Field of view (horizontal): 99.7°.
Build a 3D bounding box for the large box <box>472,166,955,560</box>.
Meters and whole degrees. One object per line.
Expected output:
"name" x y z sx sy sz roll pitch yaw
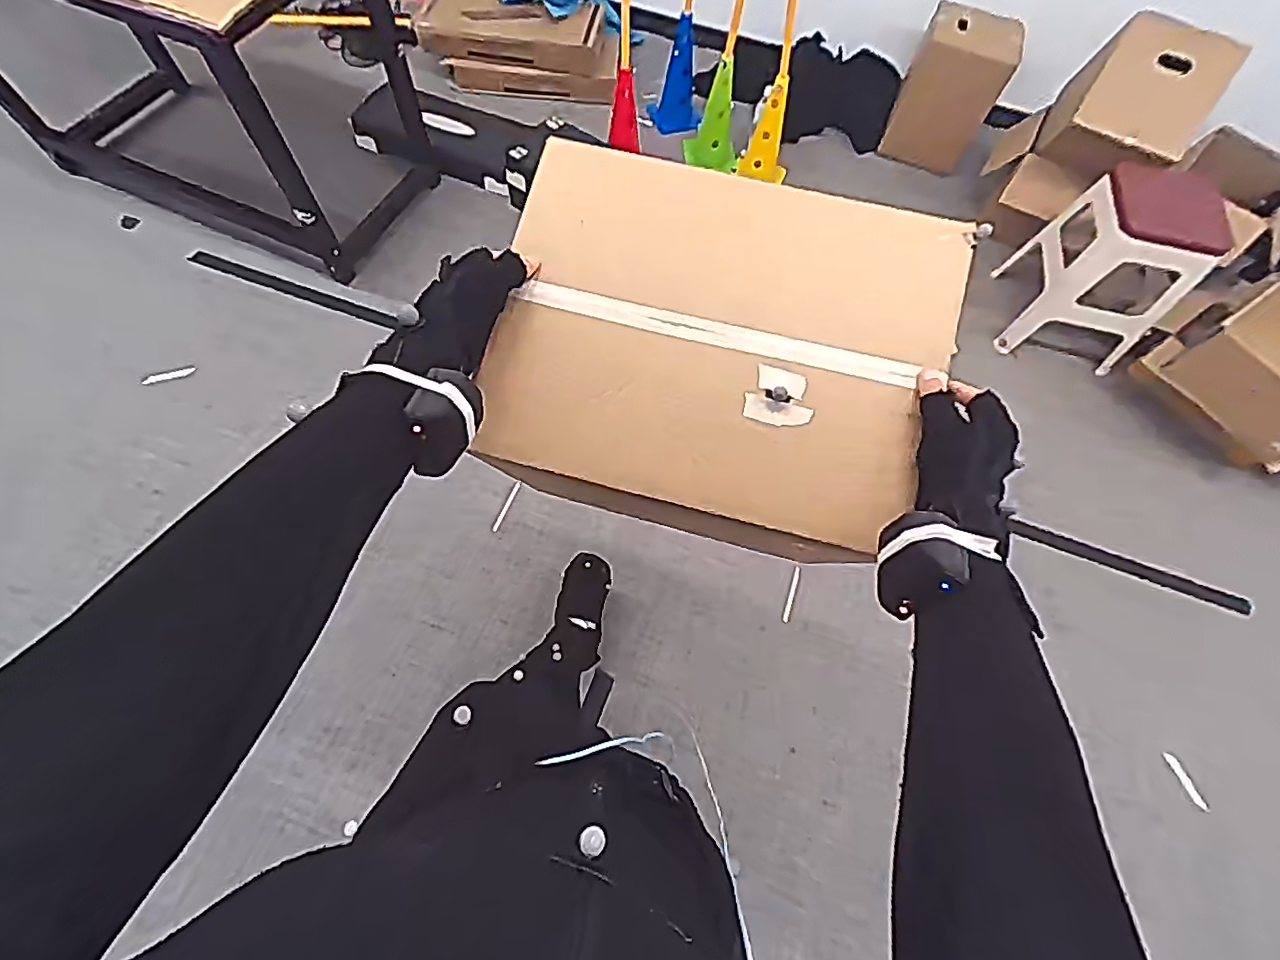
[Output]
"large box" 0.075 -0.102 0.651 0.408 0.320 0.320 15 83 4
